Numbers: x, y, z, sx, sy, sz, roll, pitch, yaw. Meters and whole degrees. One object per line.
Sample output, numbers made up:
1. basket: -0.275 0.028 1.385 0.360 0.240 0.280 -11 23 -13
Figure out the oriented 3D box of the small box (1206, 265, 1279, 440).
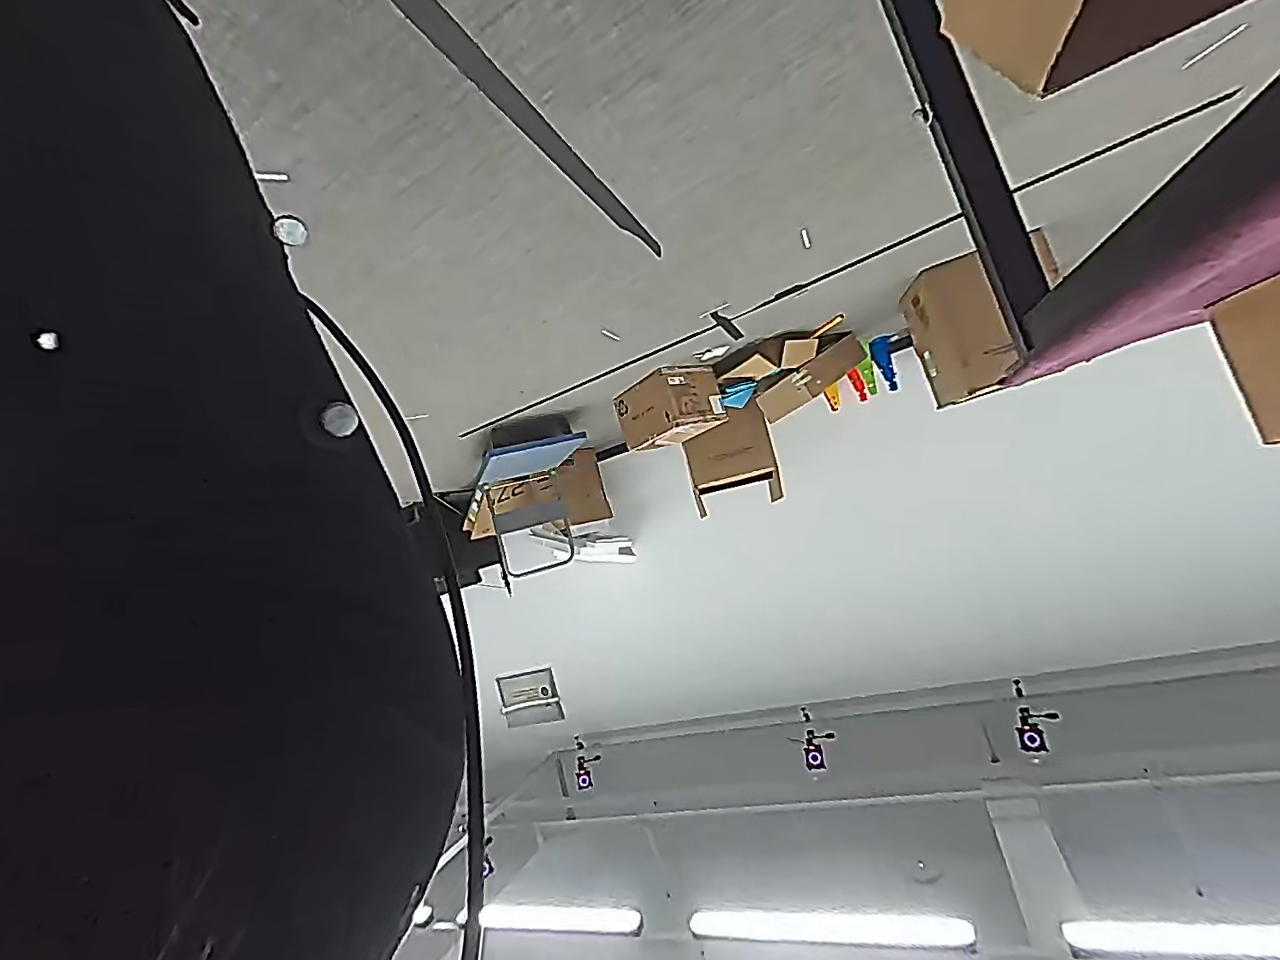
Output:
1. small box: 0.700 -0.147 0.507 0.168 0.176 0.179 -20 173 17
